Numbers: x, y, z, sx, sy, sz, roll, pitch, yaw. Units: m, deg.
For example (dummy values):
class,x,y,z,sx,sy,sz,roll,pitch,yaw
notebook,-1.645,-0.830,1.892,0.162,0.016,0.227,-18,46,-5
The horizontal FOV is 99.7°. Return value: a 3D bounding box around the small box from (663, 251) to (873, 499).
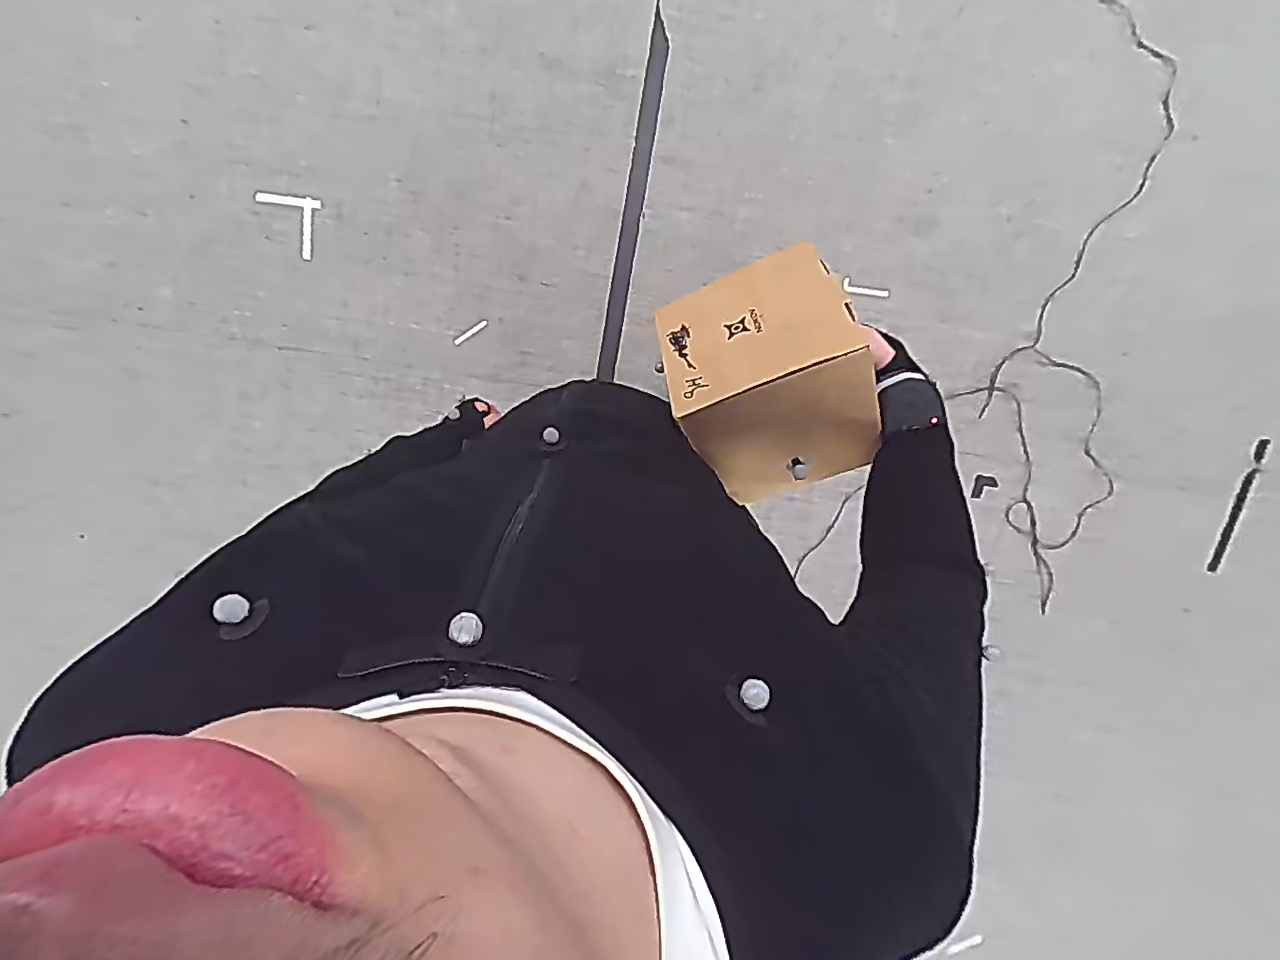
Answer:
class,x,y,z,sx,sy,sz,roll,pitch,yaw
small box,0.142,-0.105,0.591,0.179,0.168,0.176,-19,140,15
